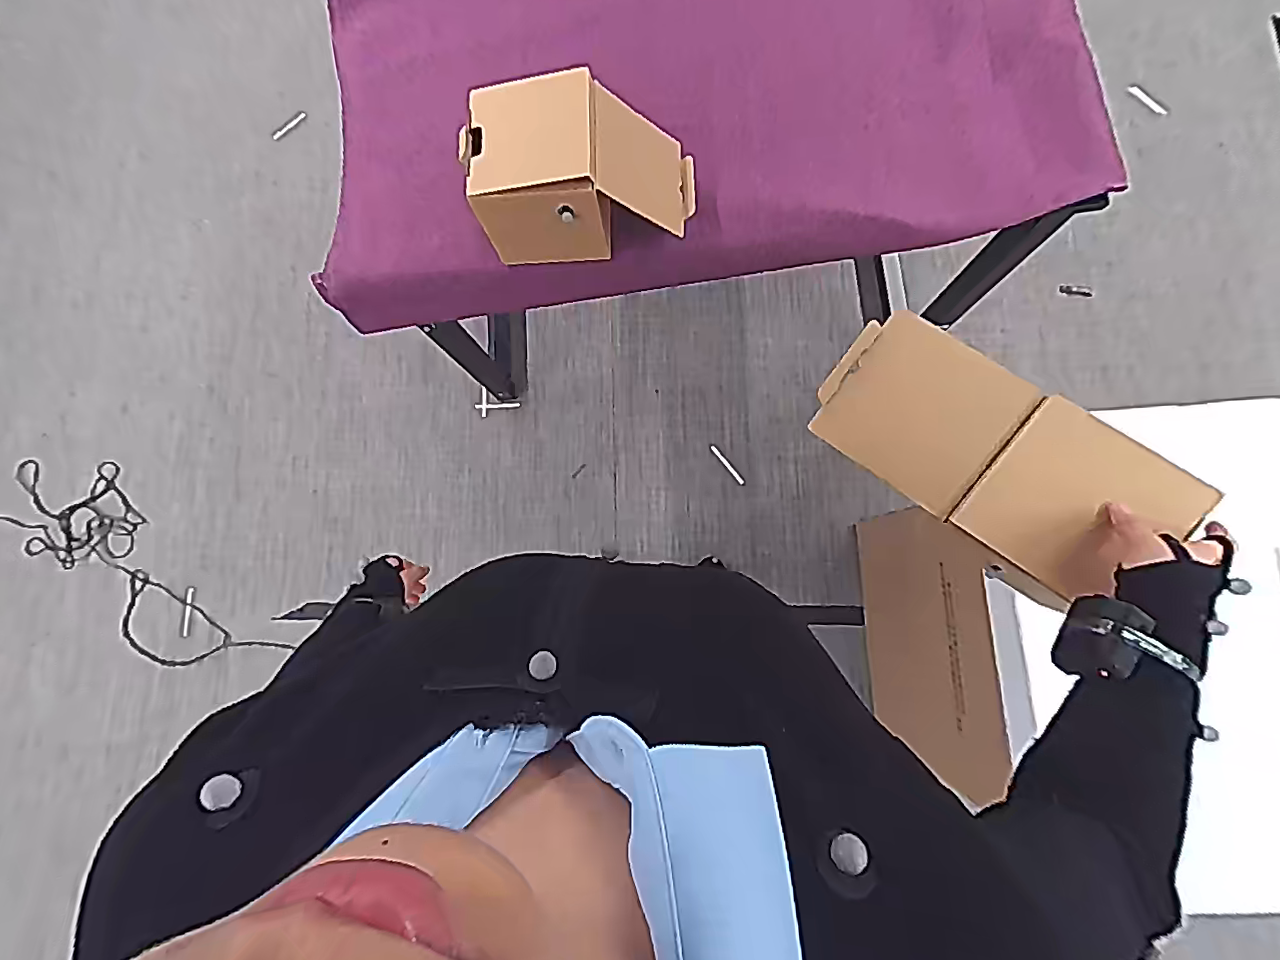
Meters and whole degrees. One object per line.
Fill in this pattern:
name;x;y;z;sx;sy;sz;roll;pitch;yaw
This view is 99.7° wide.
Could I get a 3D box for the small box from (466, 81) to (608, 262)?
small box;-0.141;-0.447;0.806;0.179;0.176;0.168;-1;80;4
